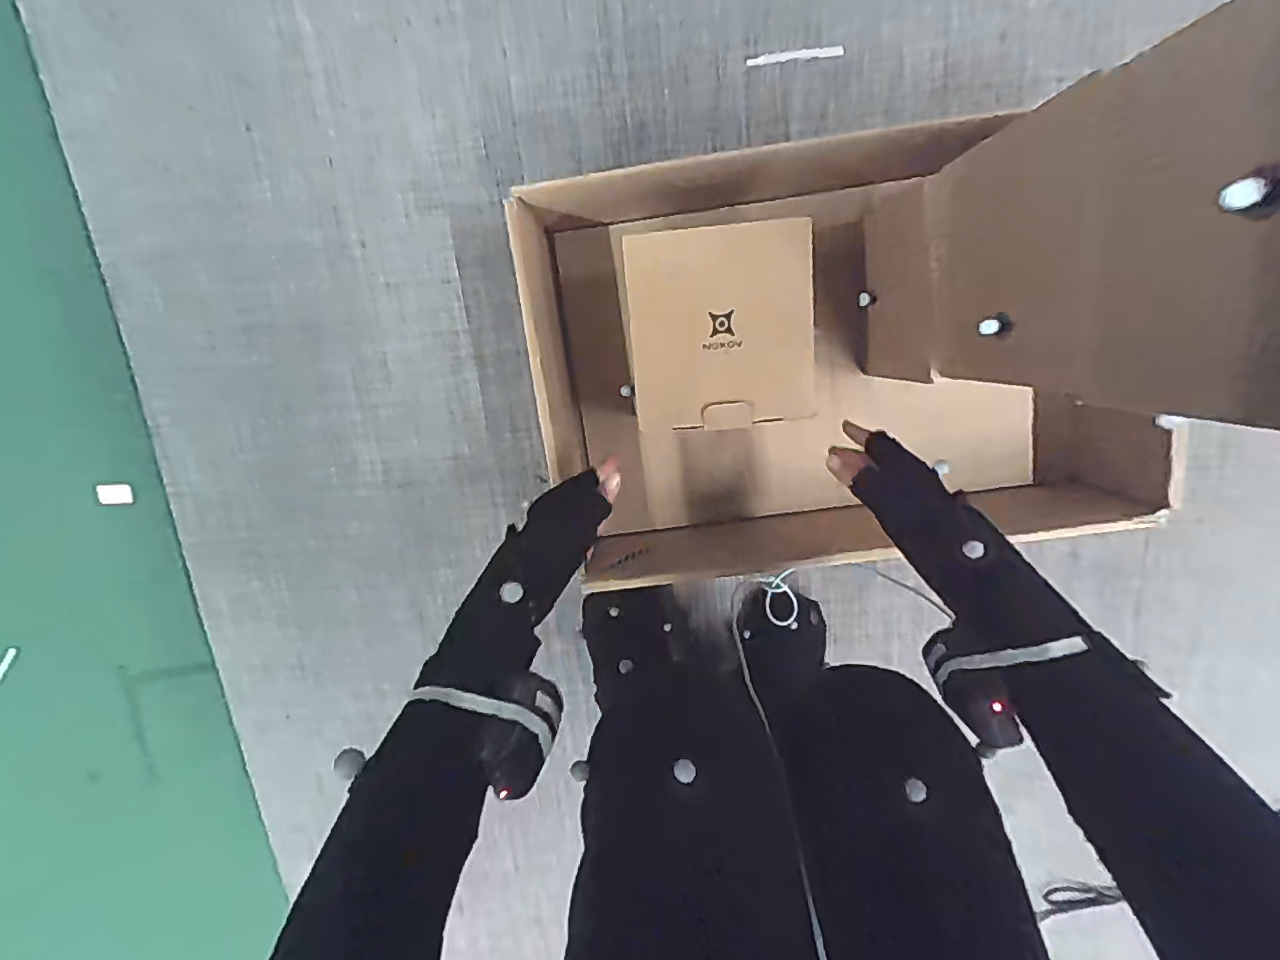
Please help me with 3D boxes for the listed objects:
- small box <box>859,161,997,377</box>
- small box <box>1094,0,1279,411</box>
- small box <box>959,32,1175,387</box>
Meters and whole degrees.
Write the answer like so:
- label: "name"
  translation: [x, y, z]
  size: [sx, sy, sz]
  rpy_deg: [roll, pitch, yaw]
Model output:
- label: "small box"
  translation: [0.332, -0.209, 0.537]
  size: [0.168, 0.176, 0.179]
  rpy_deg: [-11, 103, 6]
- label: "small box"
  translation: [0.334, -0.122, 0.221]
  size: [0.168, 0.176, 0.179]
  rpy_deg: [-6, 104, 3]
- label: "small box"
  translation: [0.340, -0.166, 0.361]
  size: [0.168, 0.176, 0.179]
  rpy_deg: [-7, 104, 4]
